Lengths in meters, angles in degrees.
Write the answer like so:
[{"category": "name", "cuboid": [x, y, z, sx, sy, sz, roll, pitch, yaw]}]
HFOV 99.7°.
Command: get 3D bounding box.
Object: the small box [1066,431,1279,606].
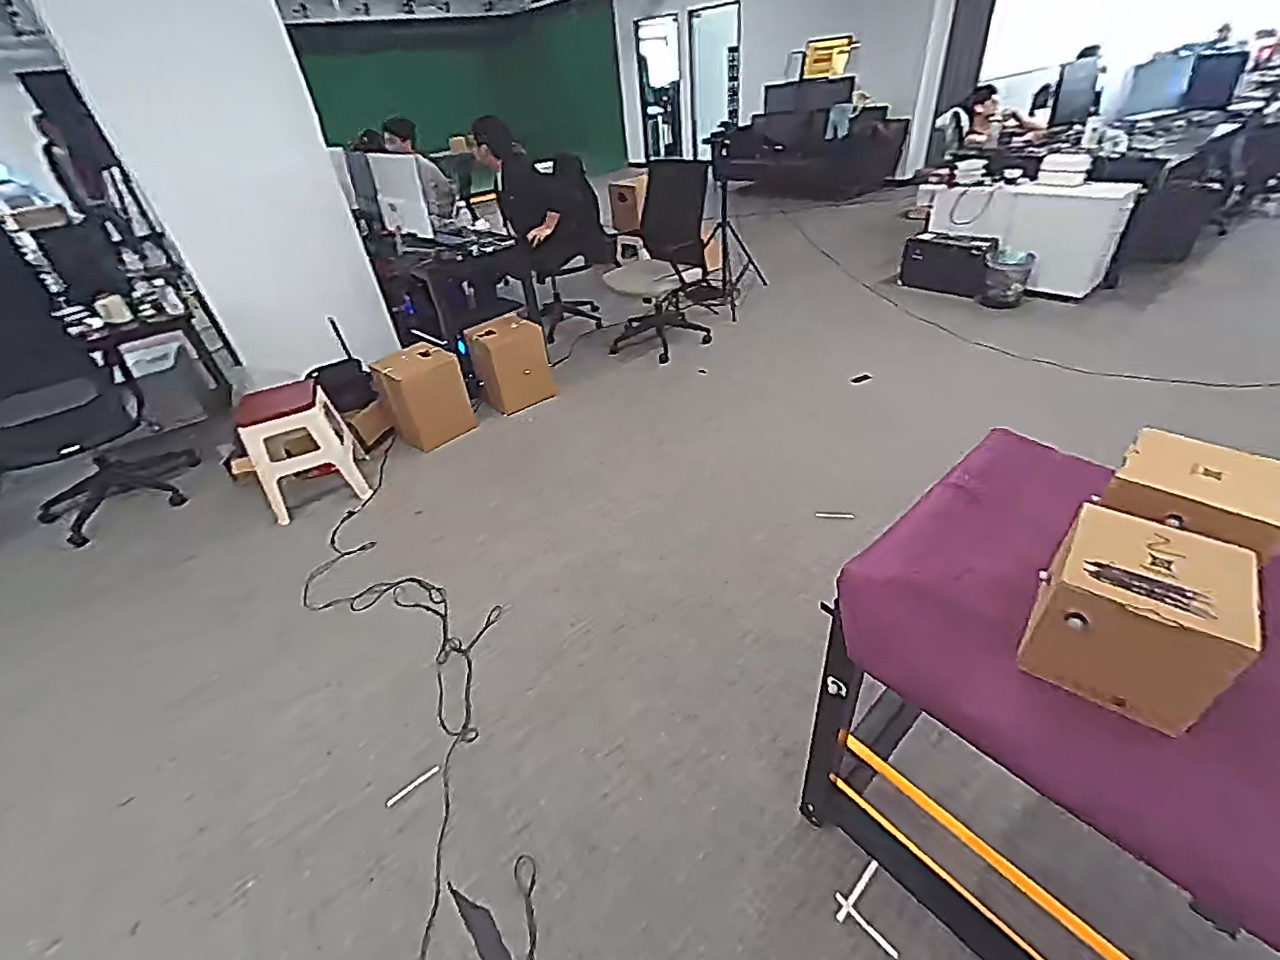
[{"category": "small box", "cuboid": [0.784, 0.058, 0.800, 0.168, 0.176, 0.179, -33, 45, -31]}]
